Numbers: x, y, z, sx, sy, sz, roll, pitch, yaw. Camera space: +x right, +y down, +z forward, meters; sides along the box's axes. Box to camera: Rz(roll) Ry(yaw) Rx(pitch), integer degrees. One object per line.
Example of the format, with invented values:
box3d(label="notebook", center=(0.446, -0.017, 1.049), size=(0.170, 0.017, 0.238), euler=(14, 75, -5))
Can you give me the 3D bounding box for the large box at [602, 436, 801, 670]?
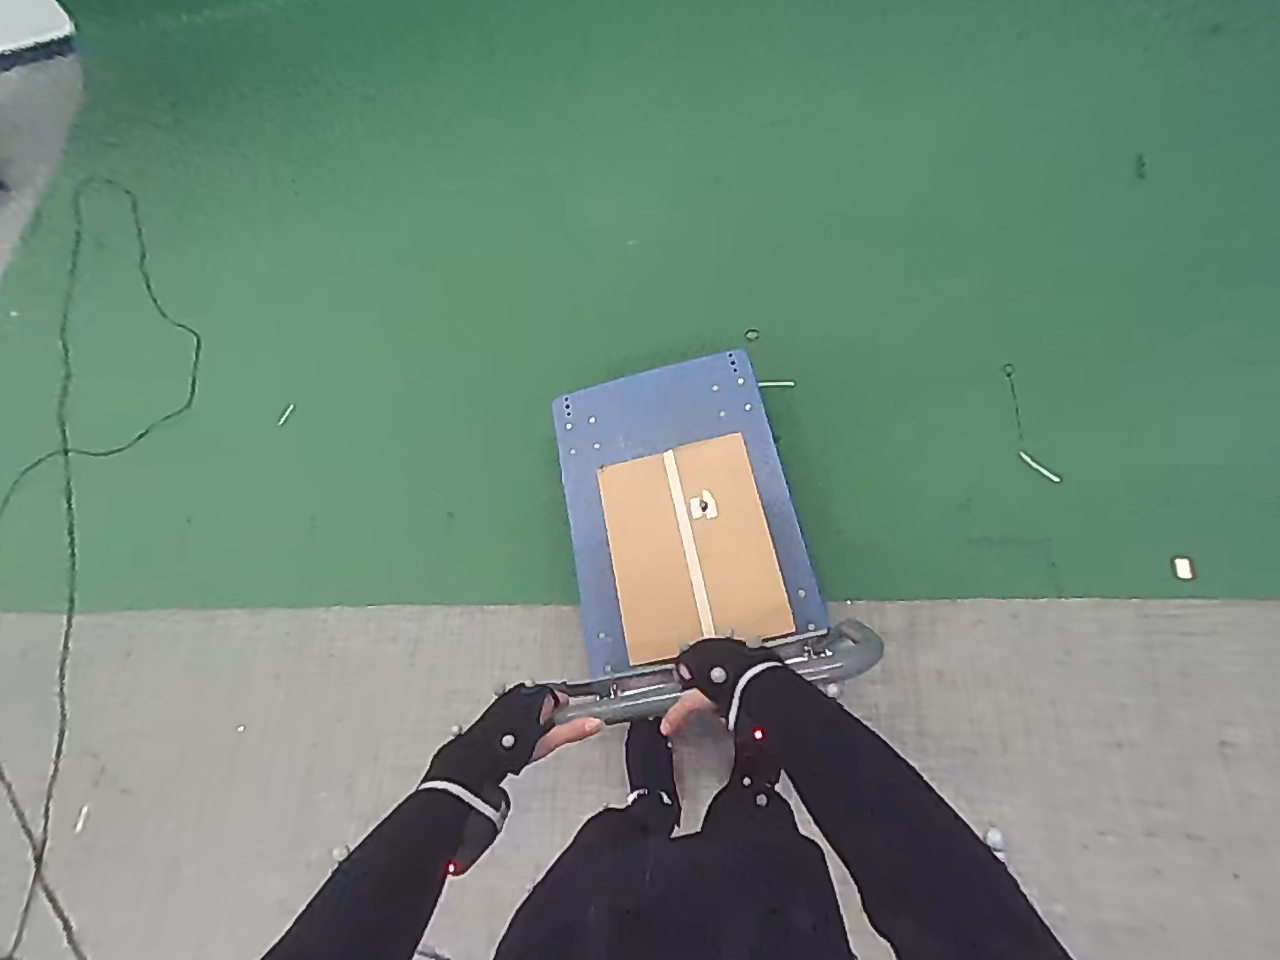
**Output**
box3d(label="large box", center=(0.135, 0.176, 1.181), size=(0.320, 0.320, 0.408), euler=(-14, 69, 7))
